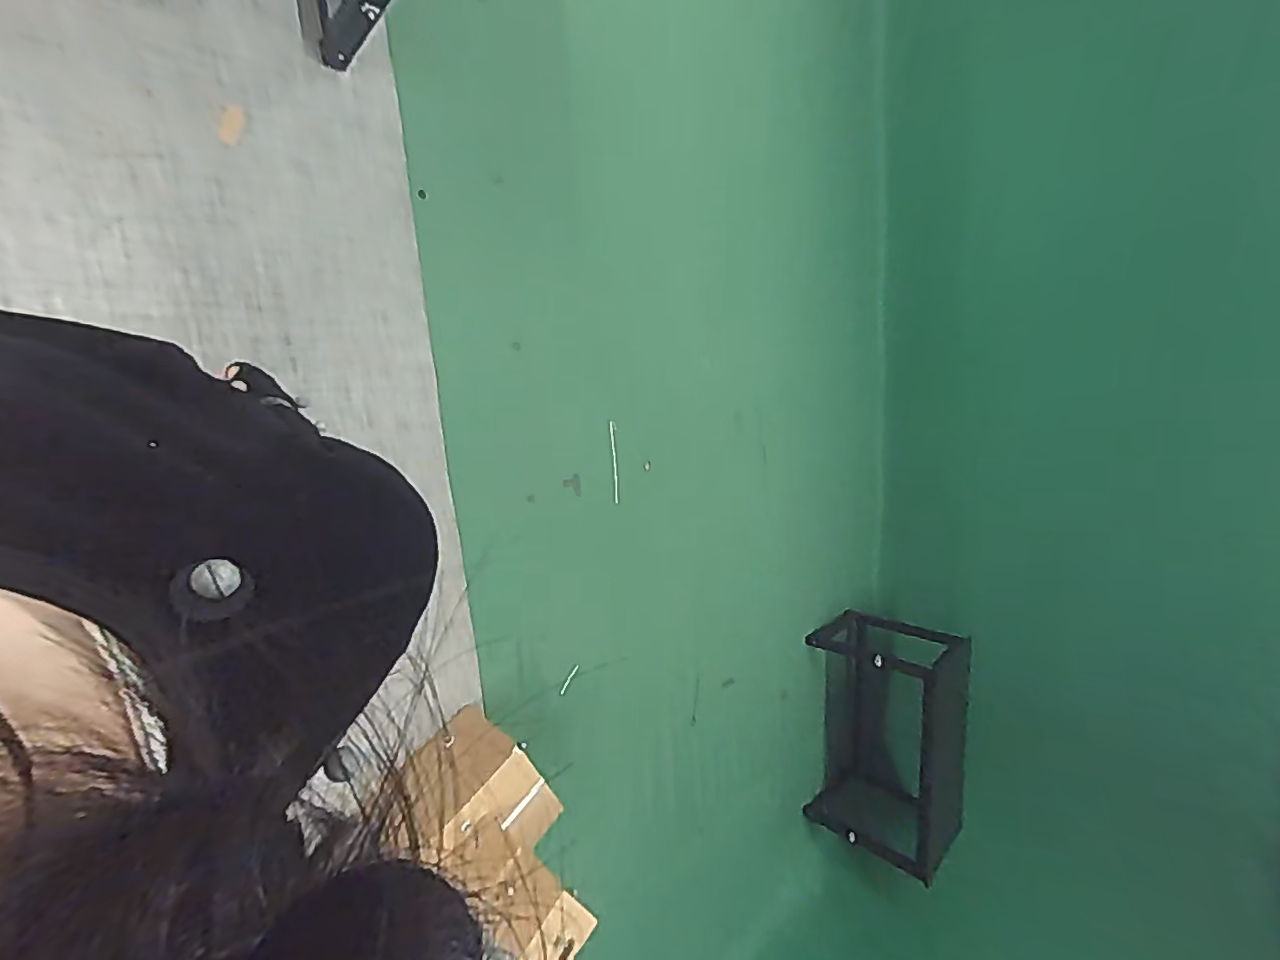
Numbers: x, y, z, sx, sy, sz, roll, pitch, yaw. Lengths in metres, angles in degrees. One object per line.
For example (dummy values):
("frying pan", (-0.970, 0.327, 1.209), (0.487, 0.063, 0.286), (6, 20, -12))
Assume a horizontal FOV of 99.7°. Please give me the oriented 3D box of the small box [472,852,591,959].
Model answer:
("small box", (-0.252, 1.018, 1.259), (0.168, 0.176, 0.179), (-46, 125, -32))
